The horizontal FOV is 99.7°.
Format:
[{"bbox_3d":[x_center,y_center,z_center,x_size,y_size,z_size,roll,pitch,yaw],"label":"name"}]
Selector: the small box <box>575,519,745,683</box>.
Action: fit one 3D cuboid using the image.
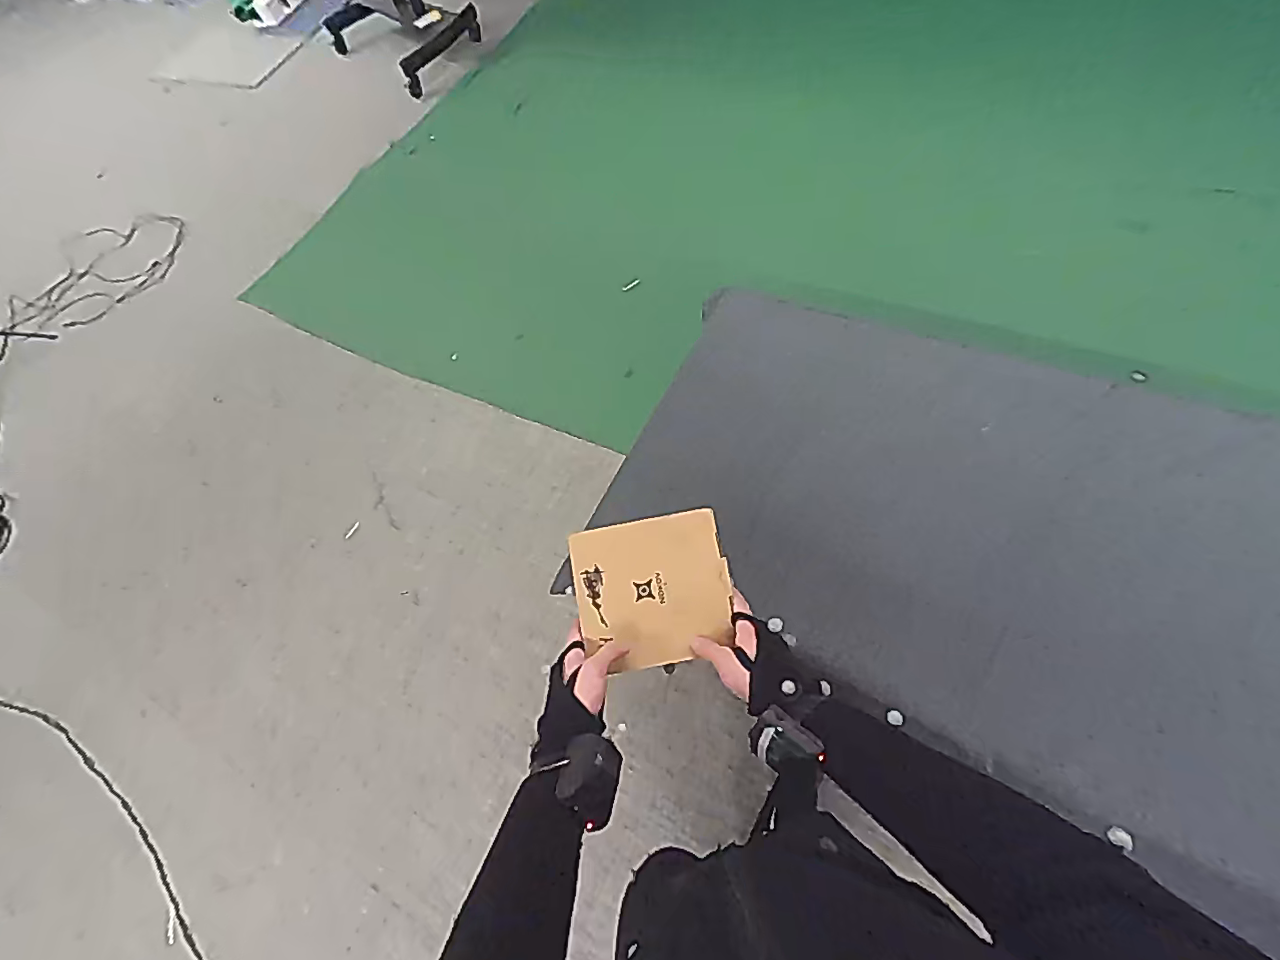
[{"bbox_3d":[0.022,0.156,0.691,0.179,0.176,0.168,-9,72,0],"label":"small box"}]
